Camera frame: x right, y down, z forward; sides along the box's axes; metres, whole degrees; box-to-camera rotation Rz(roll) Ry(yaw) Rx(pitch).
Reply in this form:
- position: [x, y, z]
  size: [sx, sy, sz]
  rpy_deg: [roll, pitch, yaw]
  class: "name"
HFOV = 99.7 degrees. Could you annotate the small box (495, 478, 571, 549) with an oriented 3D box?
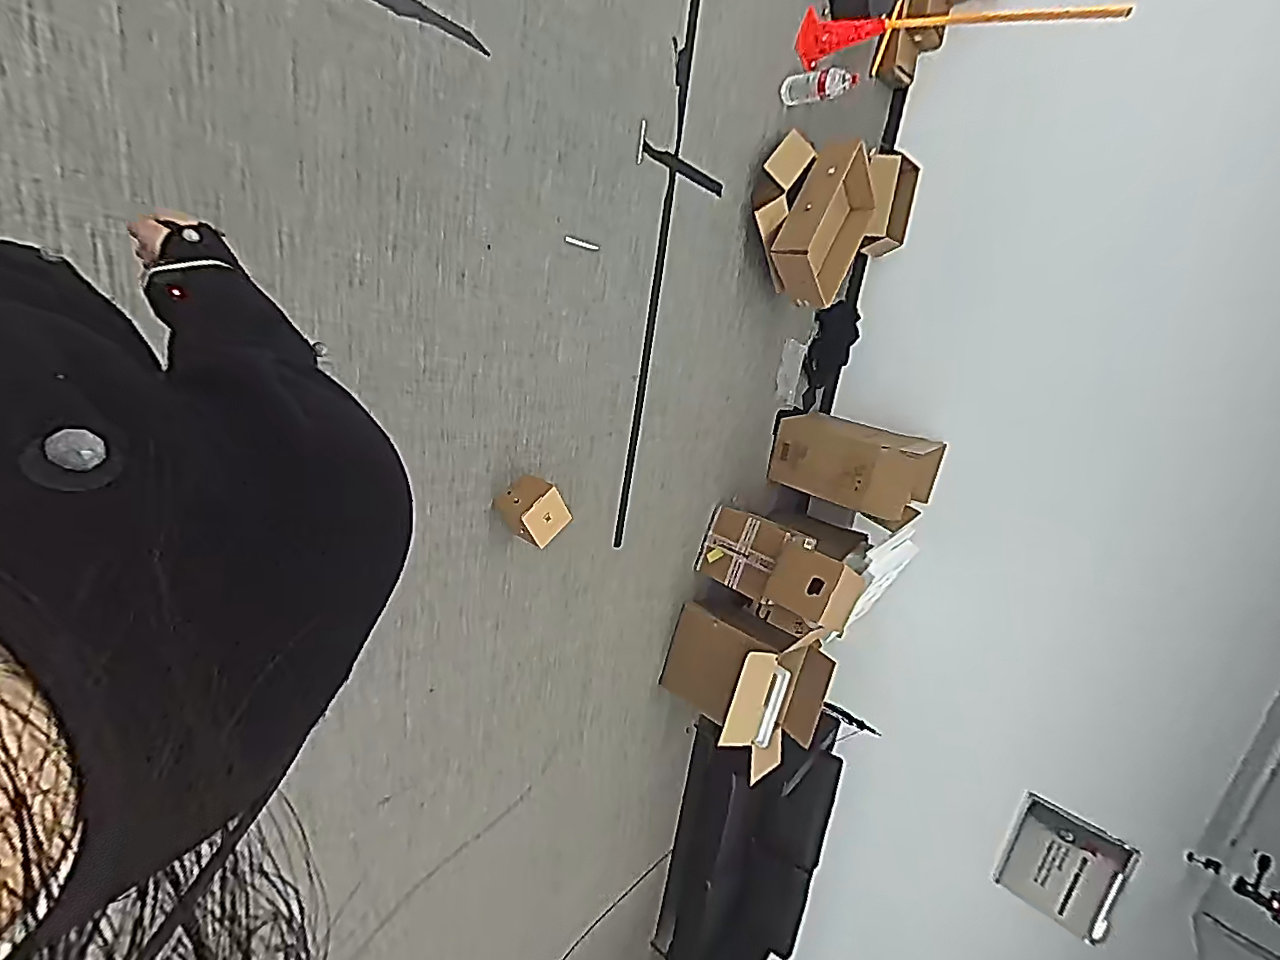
- position: [-0.385, 0.110, 1.930]
  size: [0.168, 0.176, 0.179]
  rpy_deg: [-47, 138, -25]
  class: "small box"
